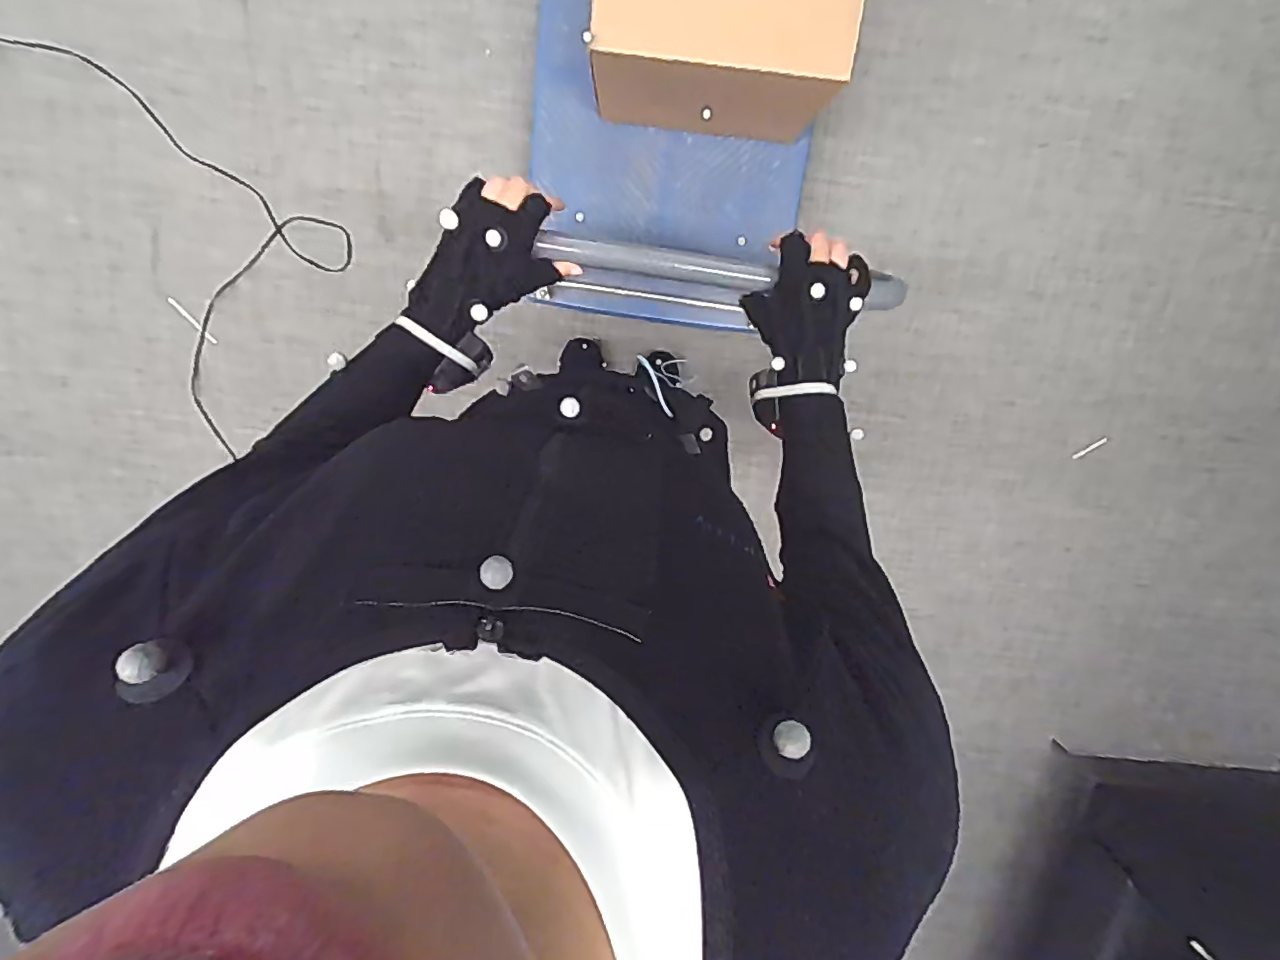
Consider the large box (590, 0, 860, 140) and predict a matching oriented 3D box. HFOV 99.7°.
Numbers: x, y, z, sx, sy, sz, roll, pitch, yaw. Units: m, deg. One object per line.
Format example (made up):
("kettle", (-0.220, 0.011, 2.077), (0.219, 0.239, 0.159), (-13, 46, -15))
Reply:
("large box", (0.137, -0.818, 0.929), (0.408, 0.320, 0.320), (6, 105, -2))
